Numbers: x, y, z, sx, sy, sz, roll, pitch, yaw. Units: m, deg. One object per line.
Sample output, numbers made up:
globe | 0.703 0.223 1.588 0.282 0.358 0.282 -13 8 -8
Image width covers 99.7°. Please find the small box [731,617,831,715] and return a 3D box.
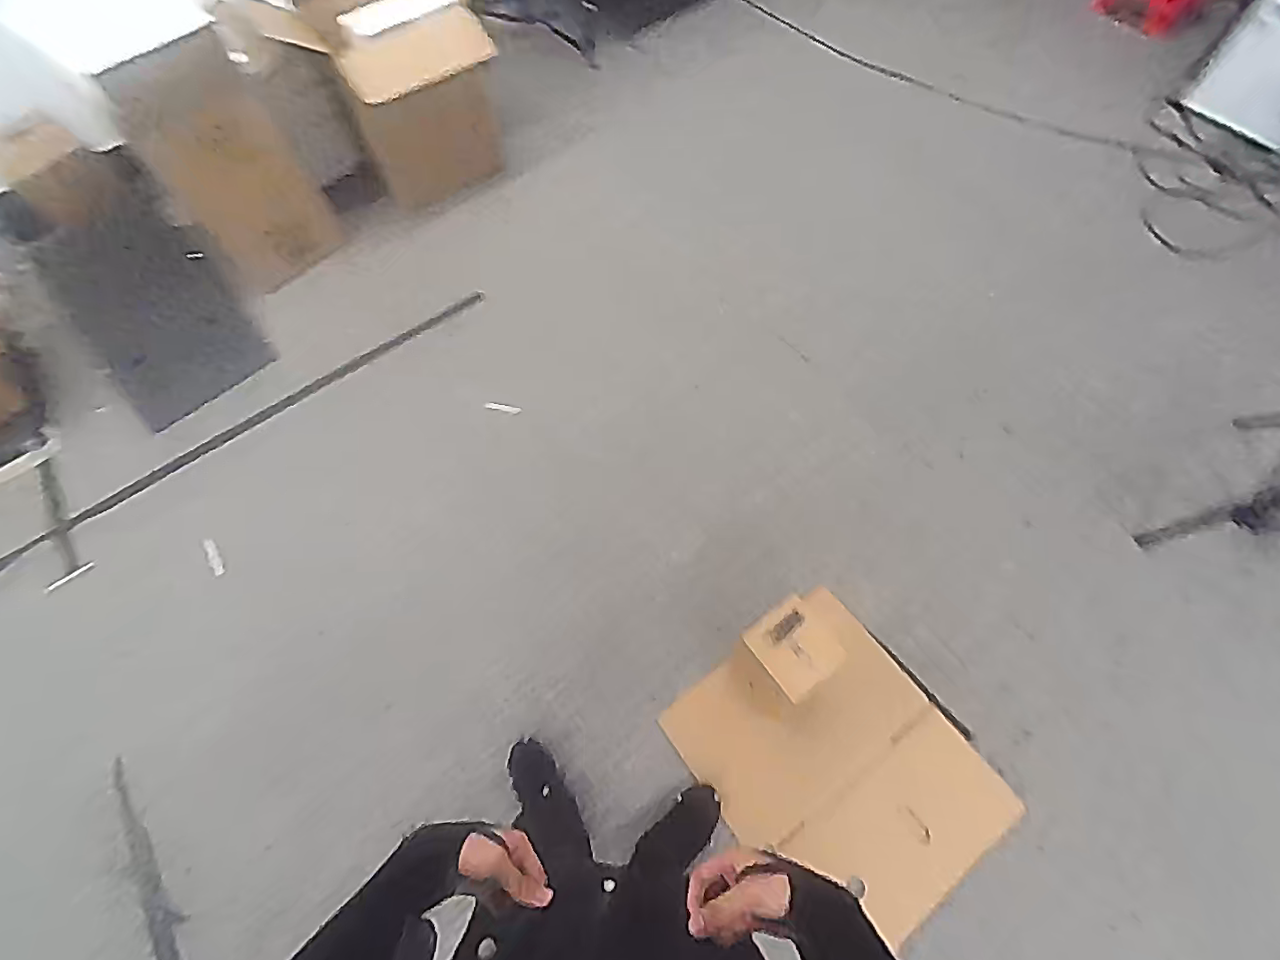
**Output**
small box | 0.355 0.485 1.398 0.168 0.176 0.179 -34 66 -13
